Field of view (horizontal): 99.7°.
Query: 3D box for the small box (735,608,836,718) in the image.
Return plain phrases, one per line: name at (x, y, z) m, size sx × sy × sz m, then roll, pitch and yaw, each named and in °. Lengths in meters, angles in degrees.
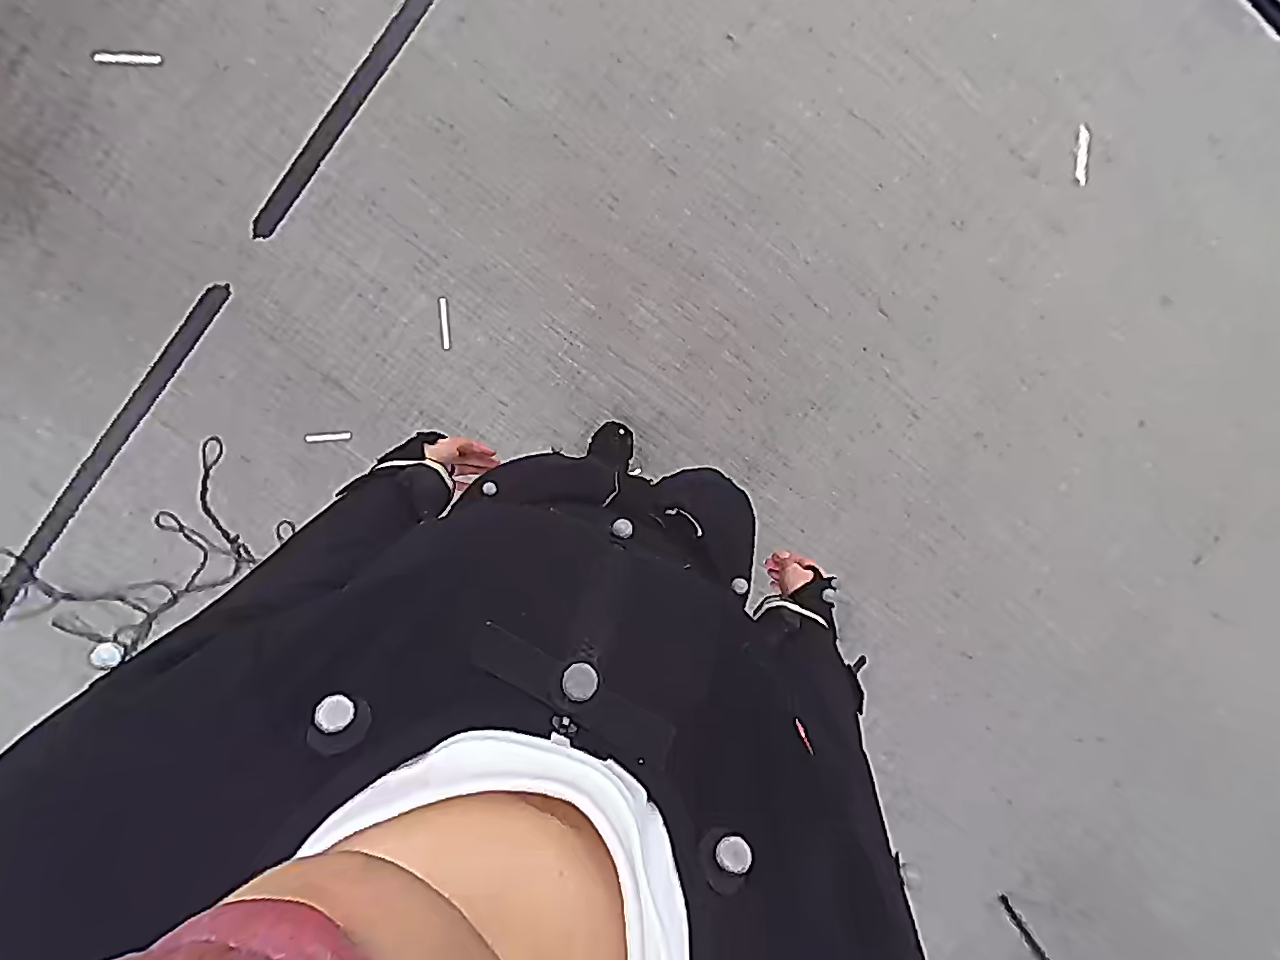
small box at (0.373, 0.464, 1.377) m, size 0.179 × 0.176 × 0.168 m, roll 35°, pitch 94°, yaw -8°
